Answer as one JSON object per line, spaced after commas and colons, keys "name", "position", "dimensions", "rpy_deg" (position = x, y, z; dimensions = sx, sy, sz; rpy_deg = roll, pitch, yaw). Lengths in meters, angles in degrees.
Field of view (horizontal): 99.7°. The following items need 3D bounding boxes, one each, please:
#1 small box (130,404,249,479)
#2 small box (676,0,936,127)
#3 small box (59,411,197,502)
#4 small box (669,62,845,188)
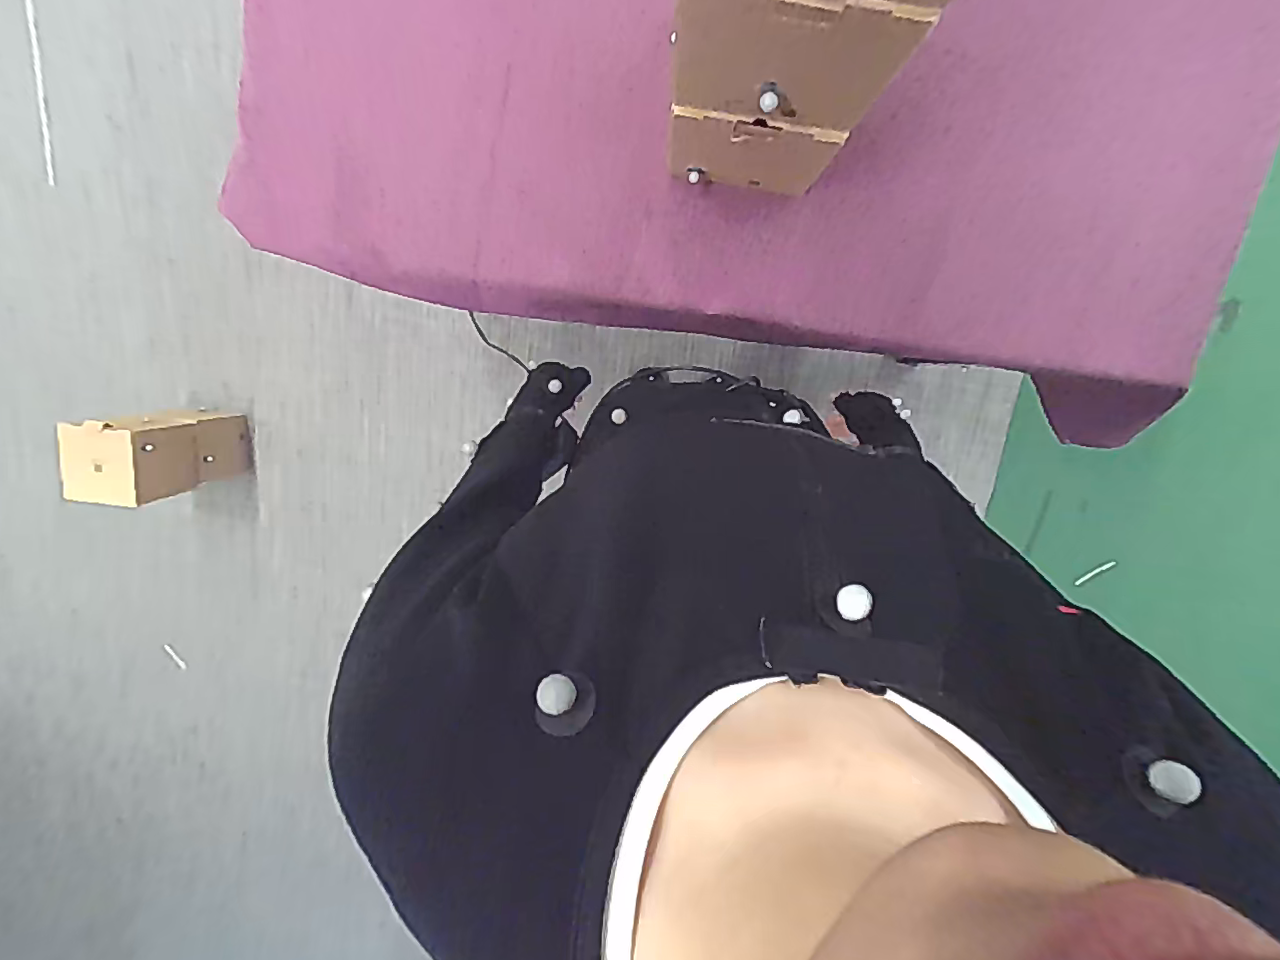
{"name": "small box", "position": [-1.174, -0.107, 1.421], "dimensions": [0.179, 0.176, 0.168], "rpy_deg": [7, 103, 1]}
{"name": "small box", "position": [0.120, -0.403, 0.399], "dimensions": [0.168, 0.176, 0.179], "rpy_deg": [10, 103, 0]}
{"name": "small box", "position": [-1.184, -0.061, 1.264], "dimensions": [0.168, 0.176, 0.179], "rpy_deg": [7, 102, 0]}
{"name": "small box", "position": [0.126, -0.429, 0.561], "dimensions": [0.168, 0.176, 0.179], "rpy_deg": [10, 102, 0]}
